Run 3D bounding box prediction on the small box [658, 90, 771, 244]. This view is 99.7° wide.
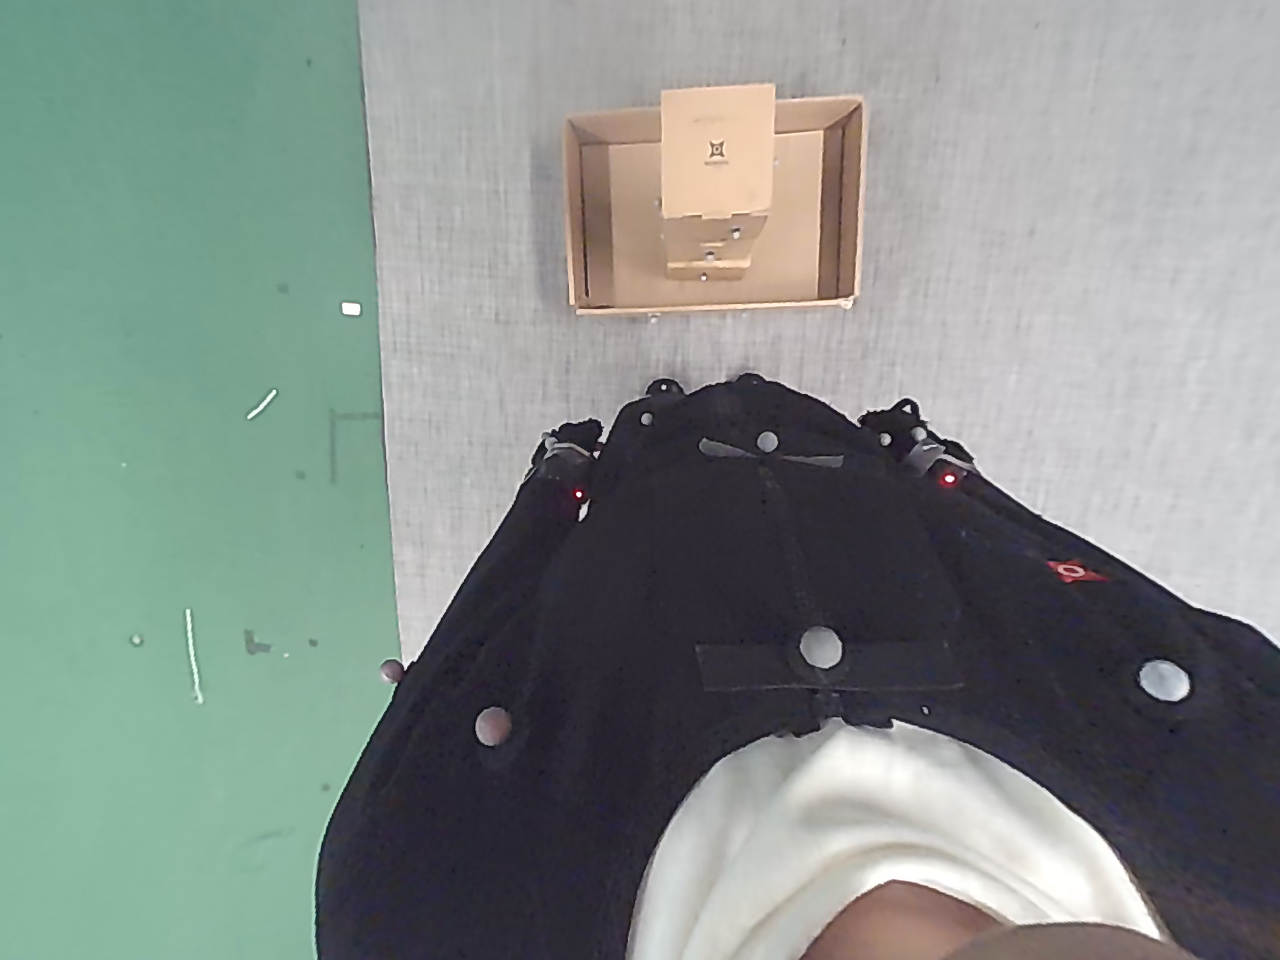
[{"bbox_3d":[0.114,-0.491,0.878,0.168,0.176,0.179,0,100,4],"label":"small box"}]

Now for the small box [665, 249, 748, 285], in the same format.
[{"bbox_3d":[0.149,-0.540,1.215,0.179,0.176,0.168,3,100,5],"label":"small box"}]

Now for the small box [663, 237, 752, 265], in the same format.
[{"bbox_3d":[0.129,-0.526,1.056,0.168,0.176,0.179,-2,100,6],"label":"small box"}]
